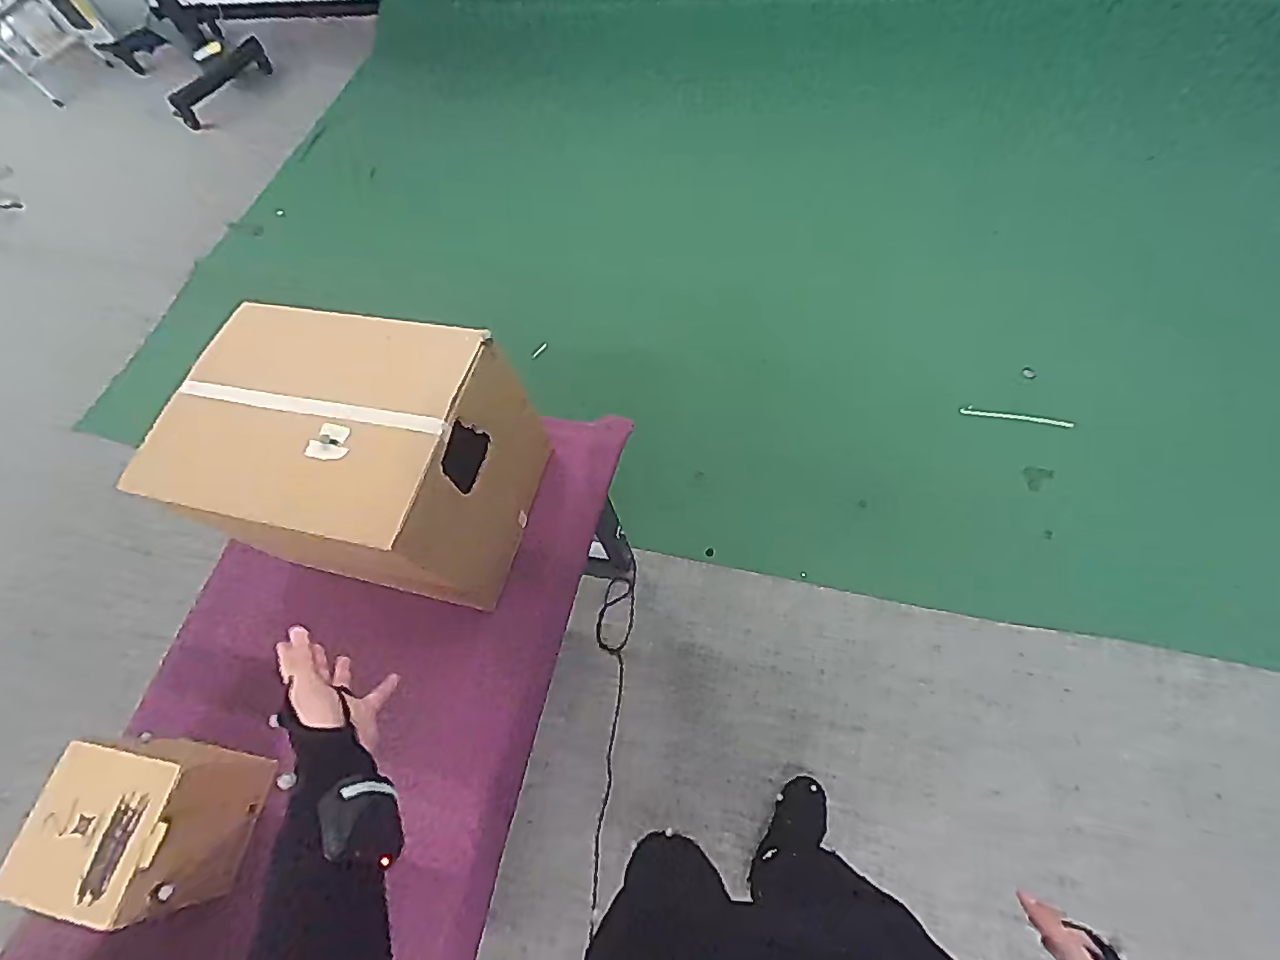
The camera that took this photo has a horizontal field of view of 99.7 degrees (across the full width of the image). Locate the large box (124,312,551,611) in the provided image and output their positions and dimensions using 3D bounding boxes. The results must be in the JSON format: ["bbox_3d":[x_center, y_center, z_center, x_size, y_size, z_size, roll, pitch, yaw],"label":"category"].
[{"bbox_3d":[-0.399,-0.018,0.822,0.408,0.320,0.320,9,66,11],"label":"large box"}]
